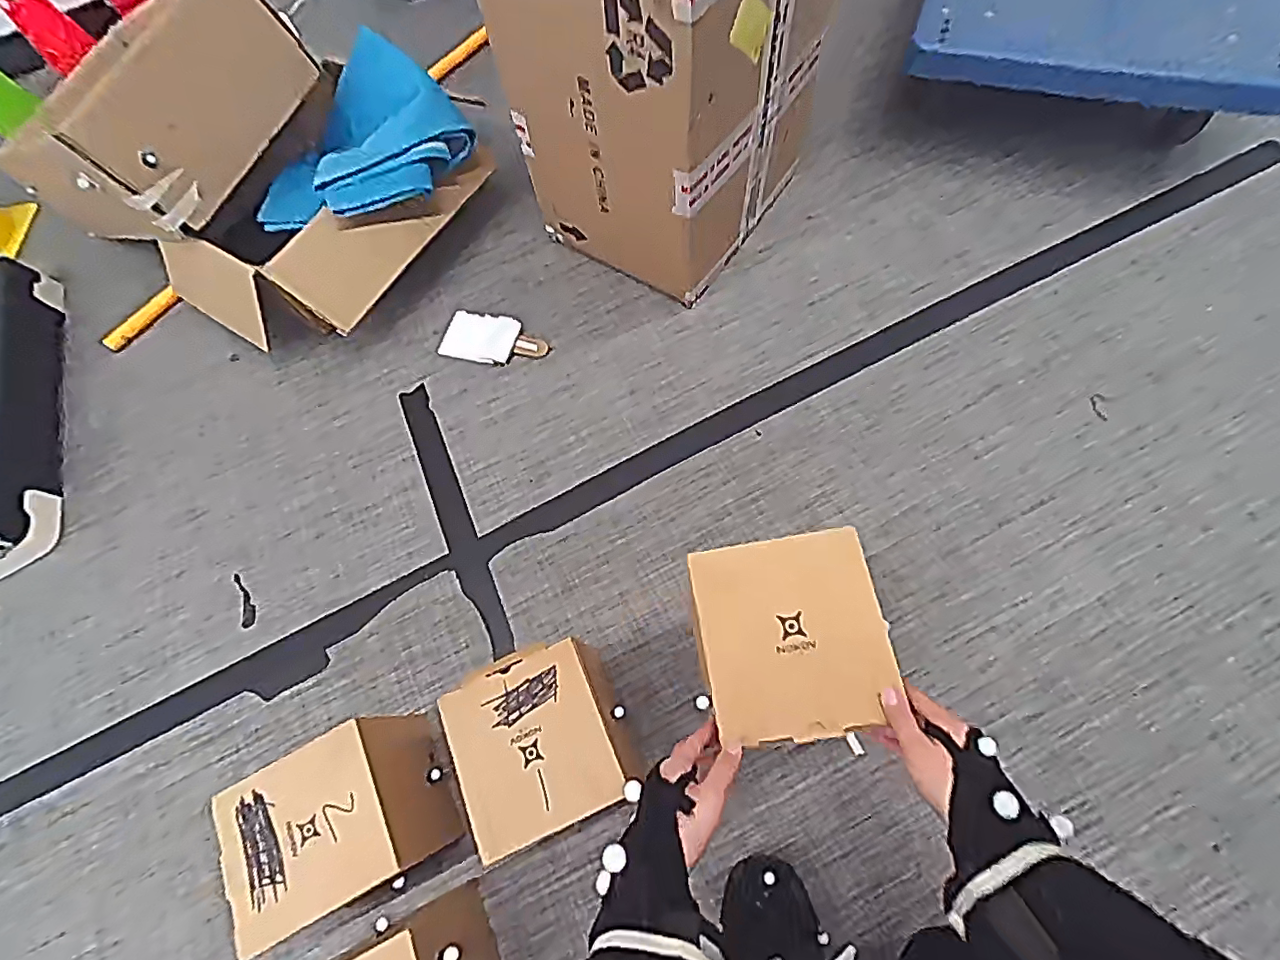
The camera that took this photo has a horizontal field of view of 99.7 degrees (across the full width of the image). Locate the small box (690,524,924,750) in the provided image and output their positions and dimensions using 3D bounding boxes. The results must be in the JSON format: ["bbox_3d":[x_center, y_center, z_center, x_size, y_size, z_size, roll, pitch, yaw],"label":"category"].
[{"bbox_3d":[0.145,0.160,0.546,0.168,0.176,0.179,-9,69,0],"label":"small box"}]

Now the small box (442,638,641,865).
[{"bbox_3d":[-0.108,0.312,0.649,0.168,0.176,0.179,-24,69,-4],"label":"small box"}]

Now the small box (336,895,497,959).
[{"bbox_3d":[-0.249,0.571,0.558,0.168,0.176,0.179,-27,68,-4],"label":"small box"}]
